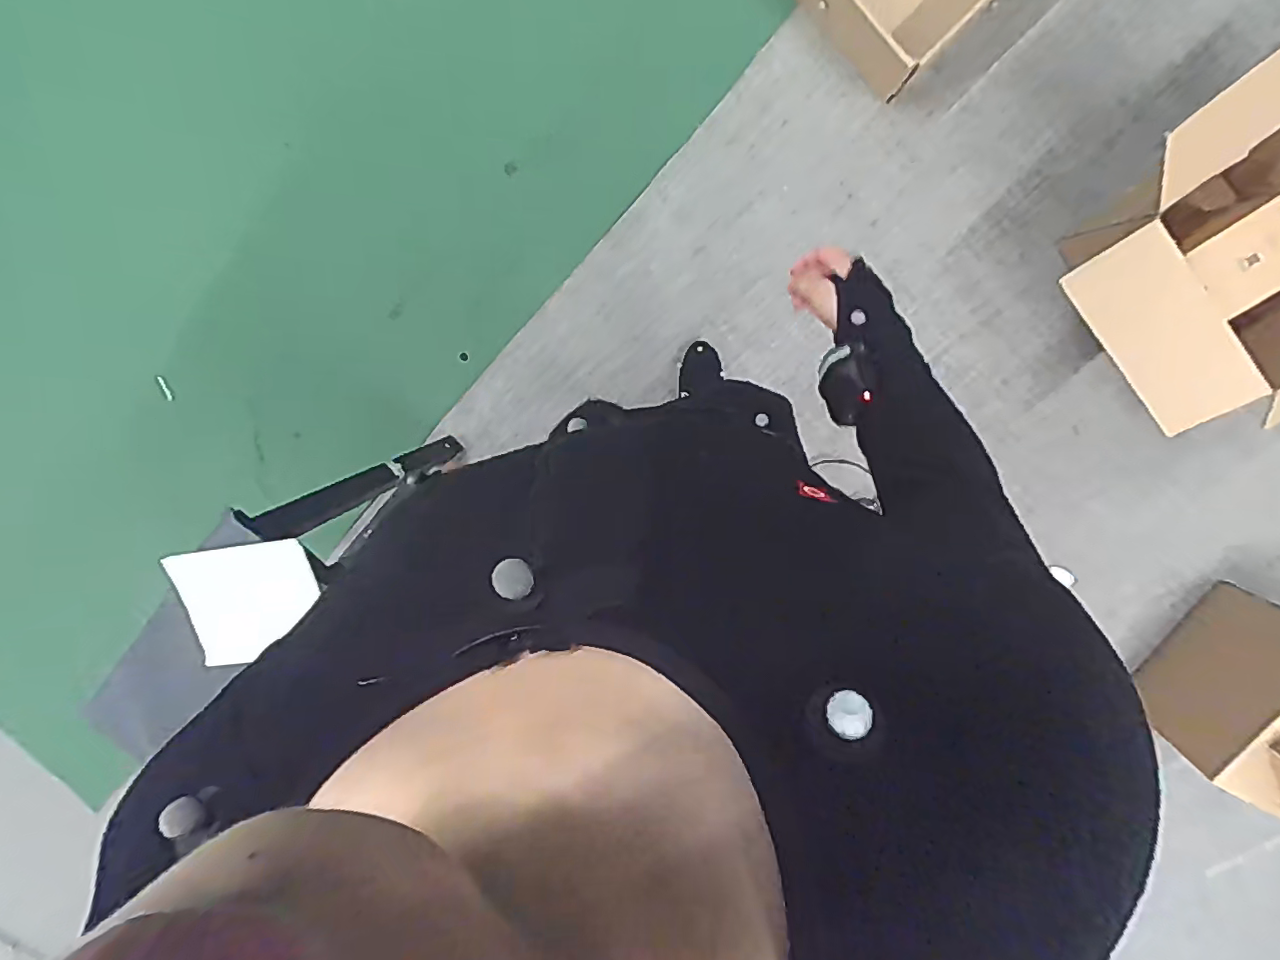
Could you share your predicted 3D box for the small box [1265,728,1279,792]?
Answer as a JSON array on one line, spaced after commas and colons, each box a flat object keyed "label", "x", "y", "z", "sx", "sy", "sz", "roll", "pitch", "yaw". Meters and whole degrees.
[{"label": "small box", "x": 1.440, "y": 0.611, "z": 1.090, "sx": 0.168, "sy": 0.176, "sz": 0.179, "roll": -22, "pitch": 100, "yaw": 14}]
